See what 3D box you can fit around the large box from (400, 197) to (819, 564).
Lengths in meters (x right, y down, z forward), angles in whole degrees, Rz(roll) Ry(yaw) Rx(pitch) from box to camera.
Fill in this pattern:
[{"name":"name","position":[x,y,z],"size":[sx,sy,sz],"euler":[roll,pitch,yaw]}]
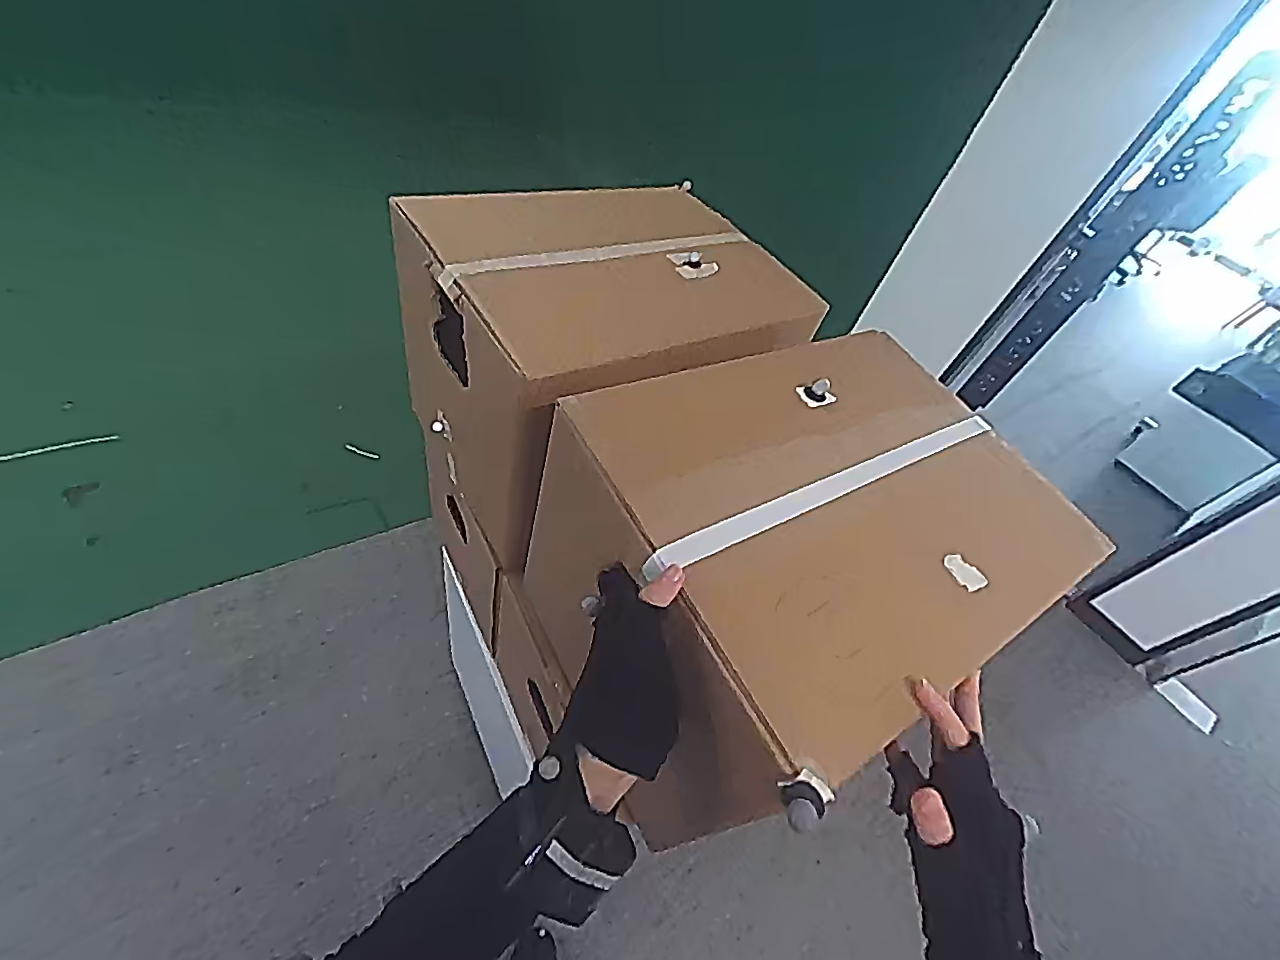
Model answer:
[{"name":"large box","position":[-0.055,-0.152,0.726],"size":[0.408,0.320,0.320],"euler":[-20,59,-32]}]
